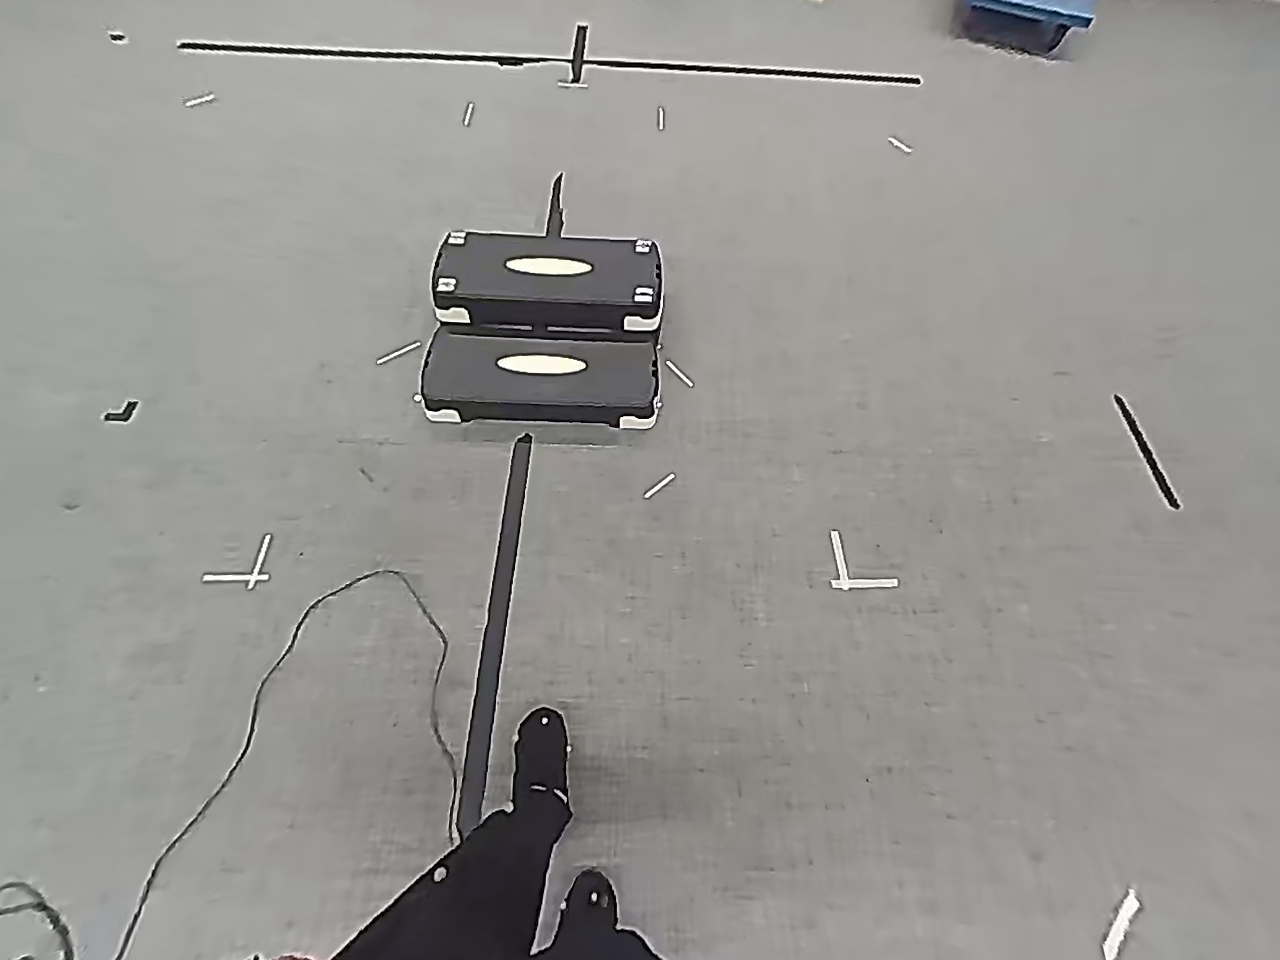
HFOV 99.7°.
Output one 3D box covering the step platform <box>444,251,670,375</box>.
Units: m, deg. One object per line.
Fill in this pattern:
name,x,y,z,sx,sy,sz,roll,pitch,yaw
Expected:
step platform,-0.248,-0.525,1.693,0.684,0.204,0.286,6,61,0
